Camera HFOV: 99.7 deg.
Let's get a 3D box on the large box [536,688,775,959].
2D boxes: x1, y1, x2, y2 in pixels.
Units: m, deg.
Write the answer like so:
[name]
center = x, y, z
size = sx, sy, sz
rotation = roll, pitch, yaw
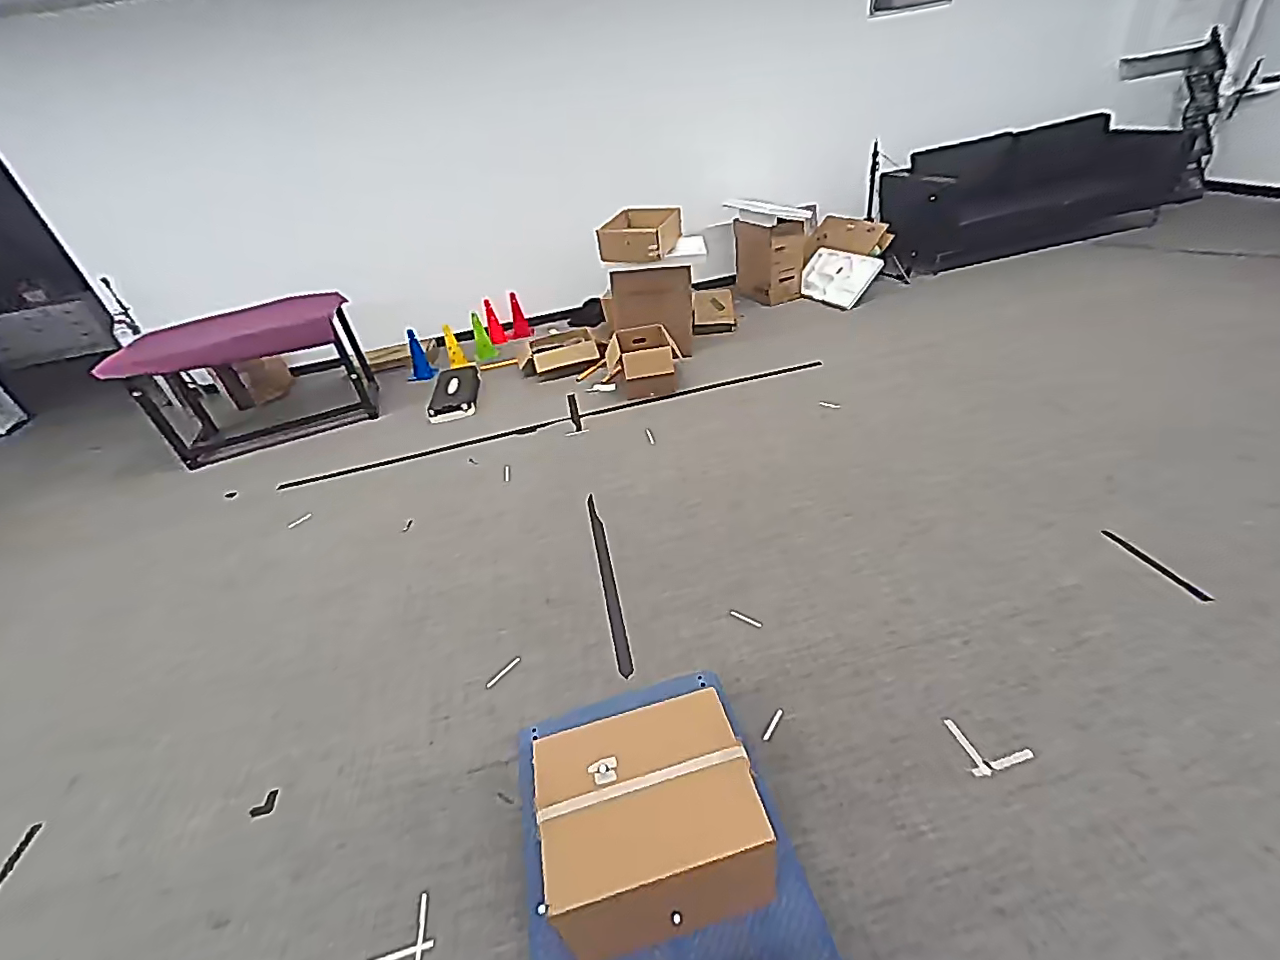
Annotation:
[large box]
center = 0.032, 0.708, 1.125
size = 0.408, 0.320, 0.320
rotation = -16, 34, -6
